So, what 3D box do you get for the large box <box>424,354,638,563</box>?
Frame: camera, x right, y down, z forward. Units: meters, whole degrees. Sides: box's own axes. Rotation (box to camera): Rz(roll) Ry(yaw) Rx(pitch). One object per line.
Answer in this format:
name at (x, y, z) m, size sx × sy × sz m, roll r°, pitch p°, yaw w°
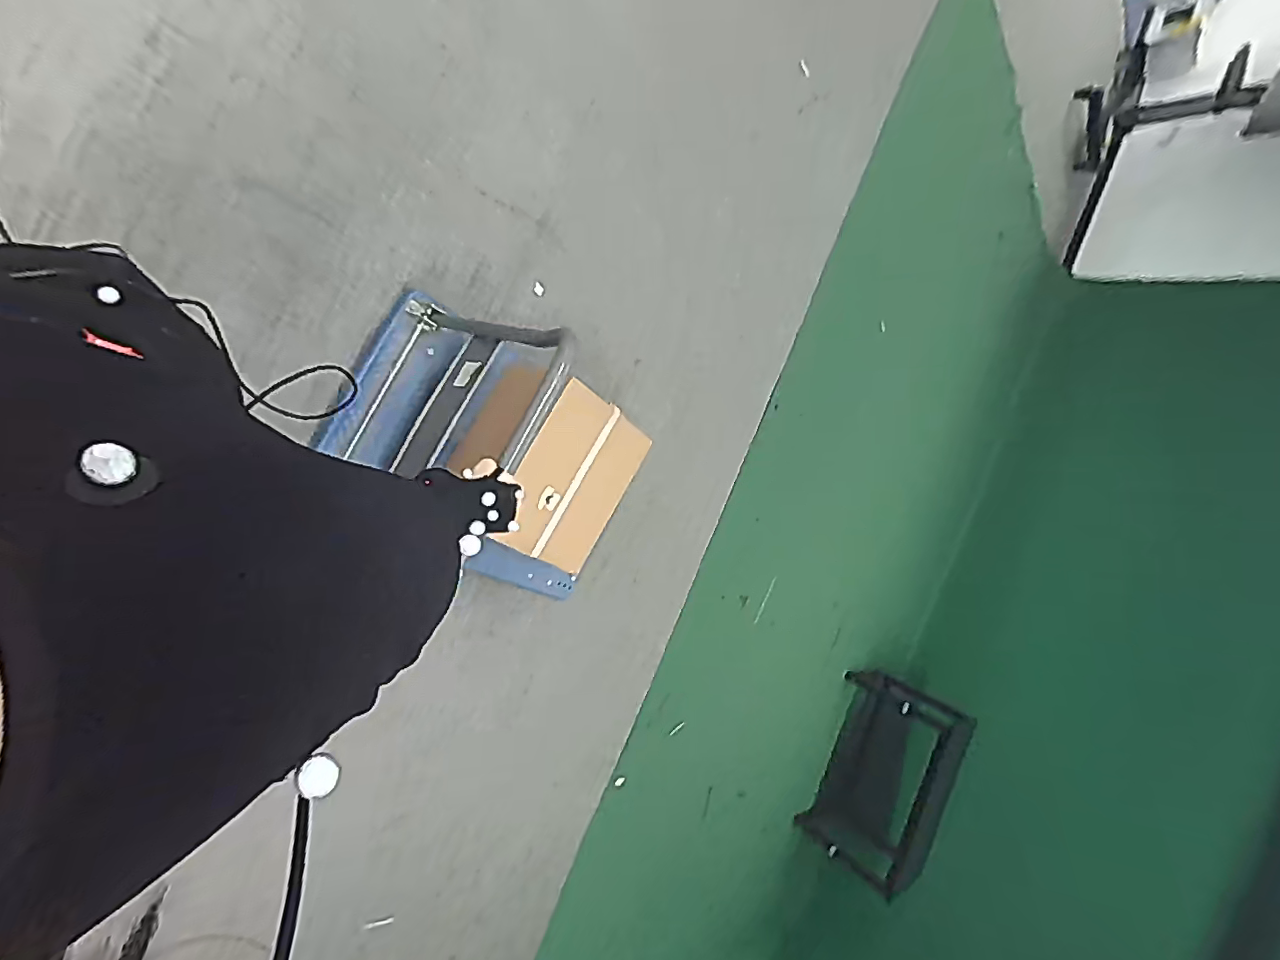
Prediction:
large box at (-0.280, -0.062, 1.398) m, size 0.320 × 0.320 × 0.408 m, roll 35°, pitch 82°, yaw -43°
